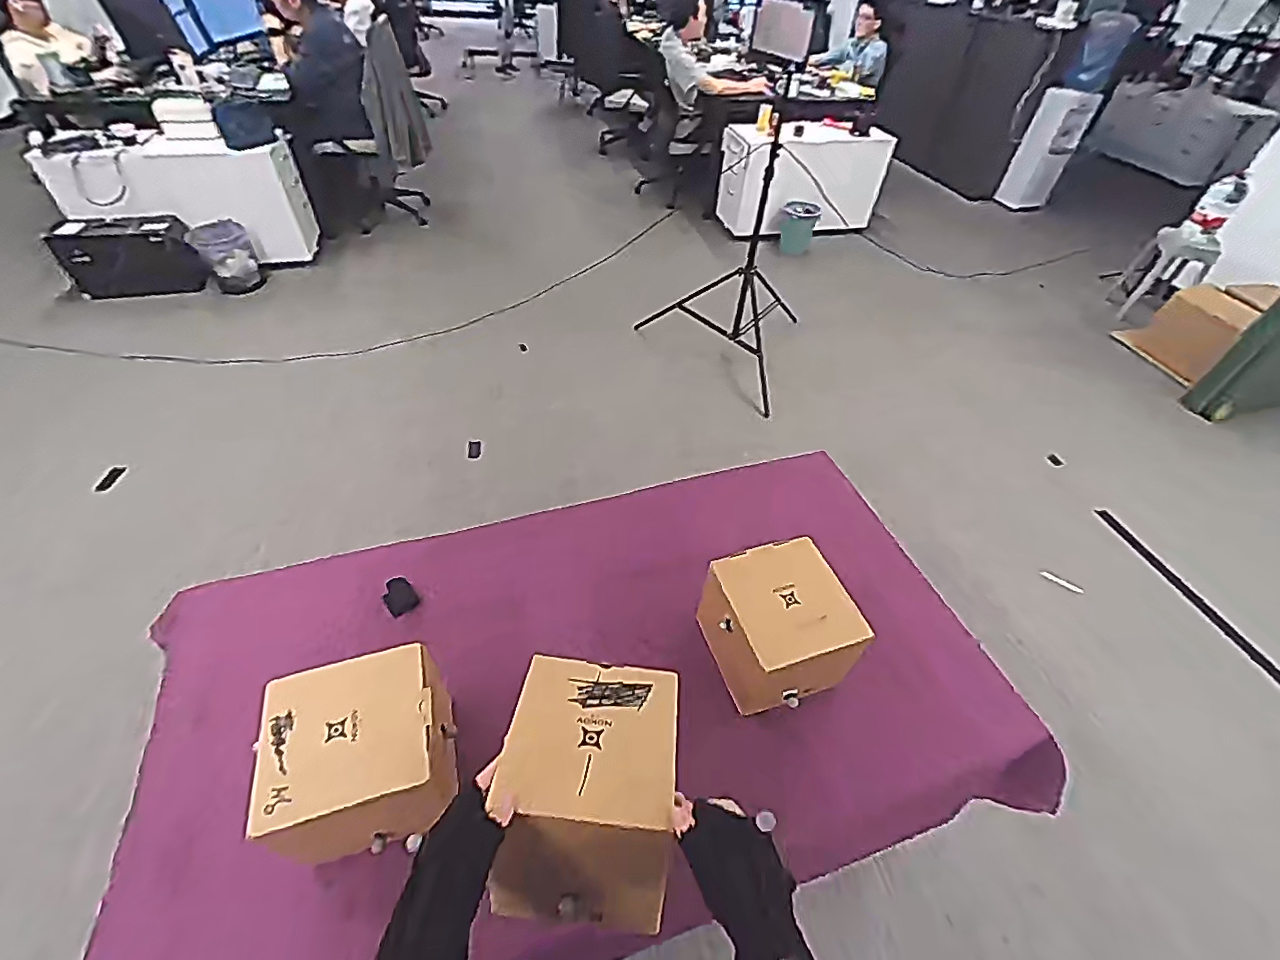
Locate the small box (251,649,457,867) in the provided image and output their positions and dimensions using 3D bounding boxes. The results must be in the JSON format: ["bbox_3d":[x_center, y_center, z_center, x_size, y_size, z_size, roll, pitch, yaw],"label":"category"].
[{"bbox_3d":[-0.325,0.335,0.655,0.179,0.176,0.168,-11,48,-15],"label":"small box"}]

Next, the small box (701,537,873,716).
[{"bbox_3d":[0.202,0.218,0.807,0.168,0.176,0.179,-14,49,-14],"label":"small box"}]

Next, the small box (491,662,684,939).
[{"bbox_3d":[-0.047,0.323,0.564,0.168,0.176,0.179,5,27,3],"label":"small box"}]
